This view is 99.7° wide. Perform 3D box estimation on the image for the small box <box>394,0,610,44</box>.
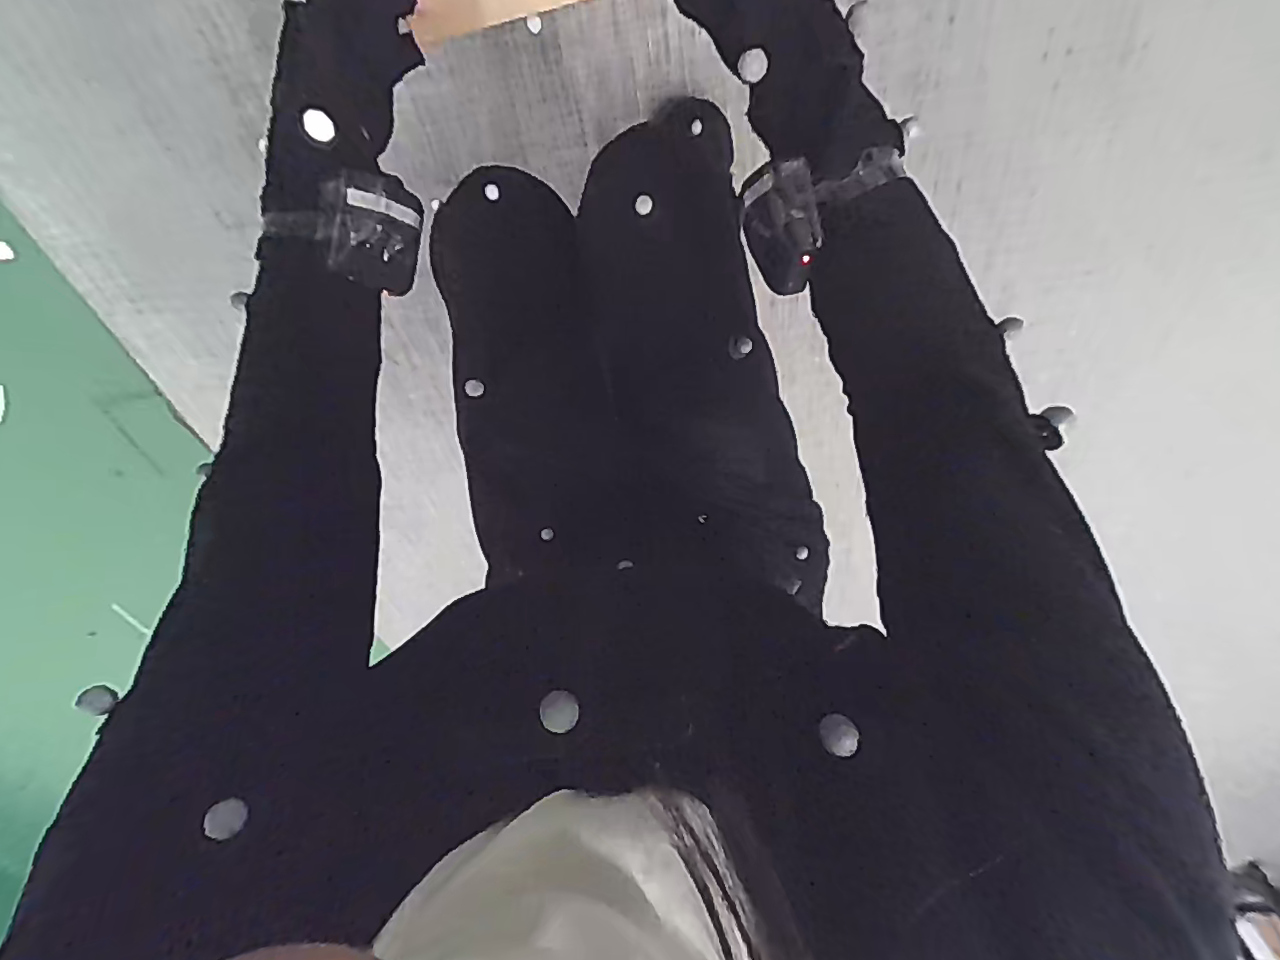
[{"bbox_3d":[-0.084,-0.417,0.353,0.179,0.176,0.168,-8,137,8],"label":"small box"}]
